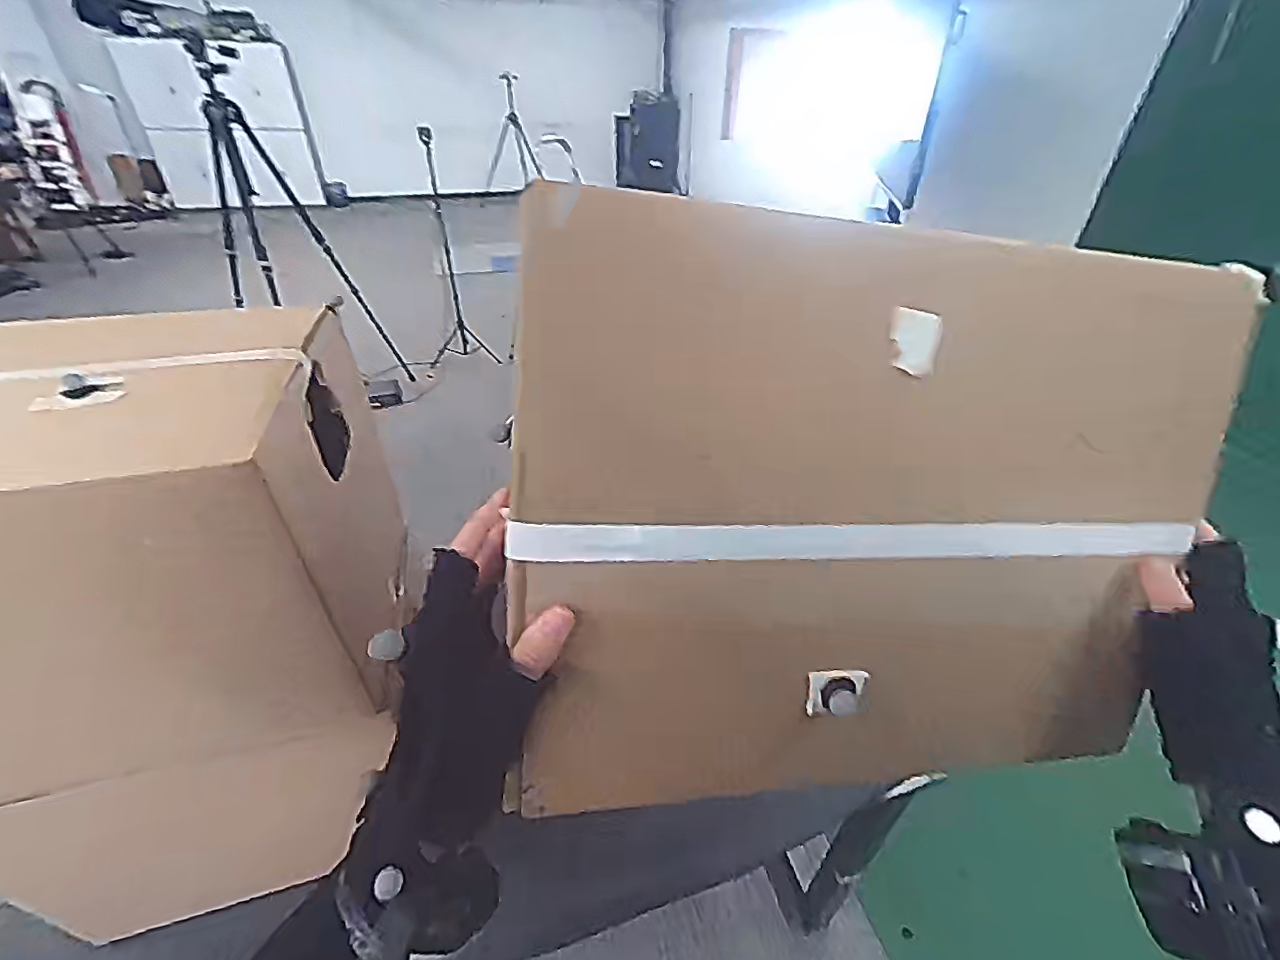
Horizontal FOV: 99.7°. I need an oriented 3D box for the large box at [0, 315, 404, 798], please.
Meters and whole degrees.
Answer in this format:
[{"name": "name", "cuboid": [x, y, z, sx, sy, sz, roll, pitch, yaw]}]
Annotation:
[{"name": "large box", "cuboid": [-0.478, 0.052, 0.518, 0.408, 0.320, 0.320, -8, 38, -14]}]
